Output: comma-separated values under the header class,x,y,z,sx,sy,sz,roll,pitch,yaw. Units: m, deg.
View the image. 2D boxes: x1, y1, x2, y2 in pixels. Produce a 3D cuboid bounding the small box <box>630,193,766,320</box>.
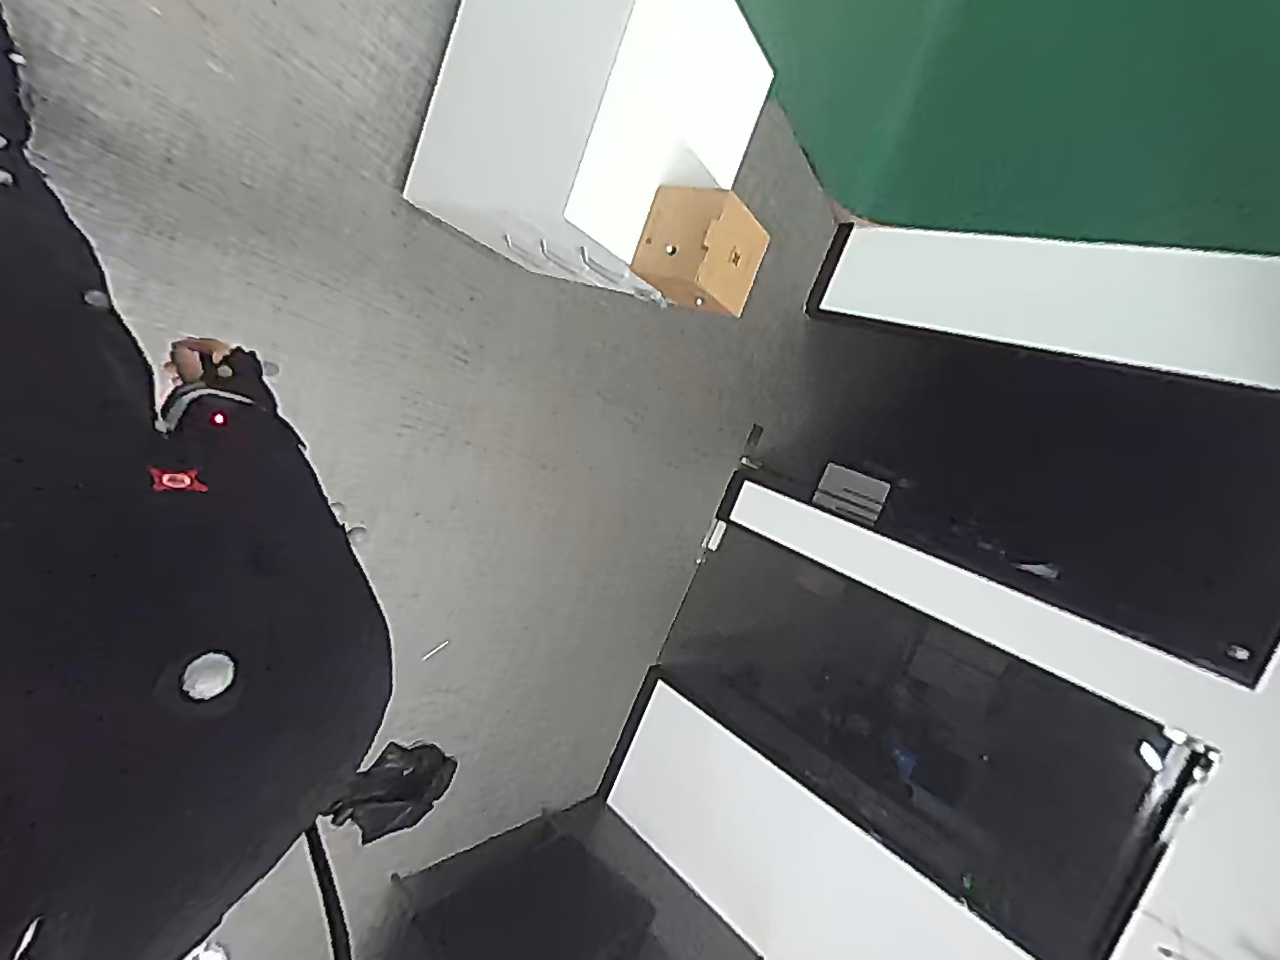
class,x,y,z,sx,sy,sz,roll,pitch,yaw
small box,0.109,-0.431,1.046,0.179,0.176,0.168,12,102,-54
